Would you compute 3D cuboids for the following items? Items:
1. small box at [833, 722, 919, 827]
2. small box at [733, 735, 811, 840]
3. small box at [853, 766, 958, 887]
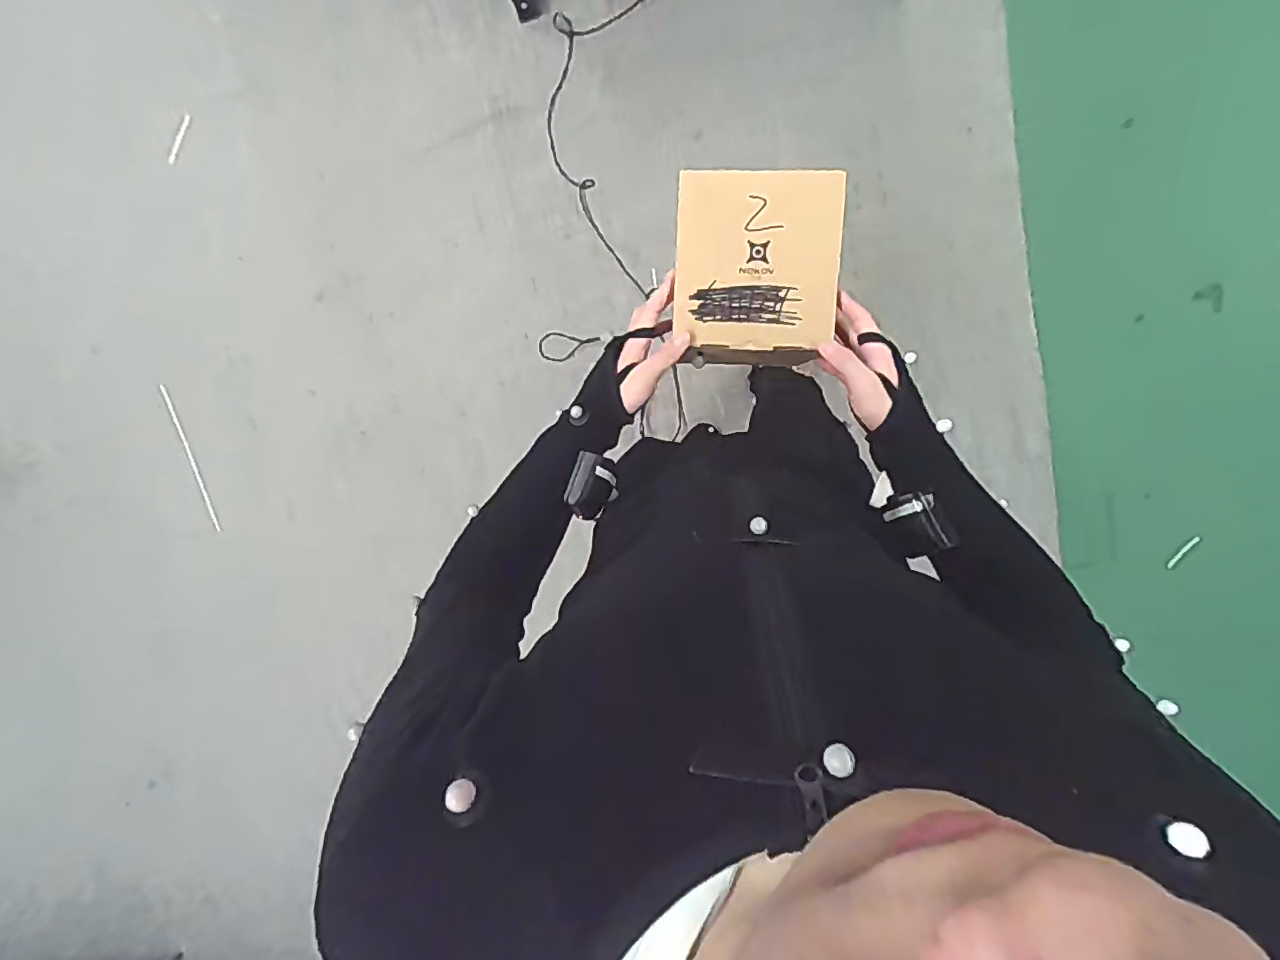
[{"bbox_3d":[0.623,0.773,1.431,0.168,0.176,0.179,-9,100,5],"label":"small box"},{"bbox_3d":[0.350,0.820,1.452,0.168,0.176,0.179,-9,99,4],"label":"small box"},{"bbox_3d":[0.615,0.800,1.269,0.168,0.176,0.179,-11,101,5],"label":"small box"}]
